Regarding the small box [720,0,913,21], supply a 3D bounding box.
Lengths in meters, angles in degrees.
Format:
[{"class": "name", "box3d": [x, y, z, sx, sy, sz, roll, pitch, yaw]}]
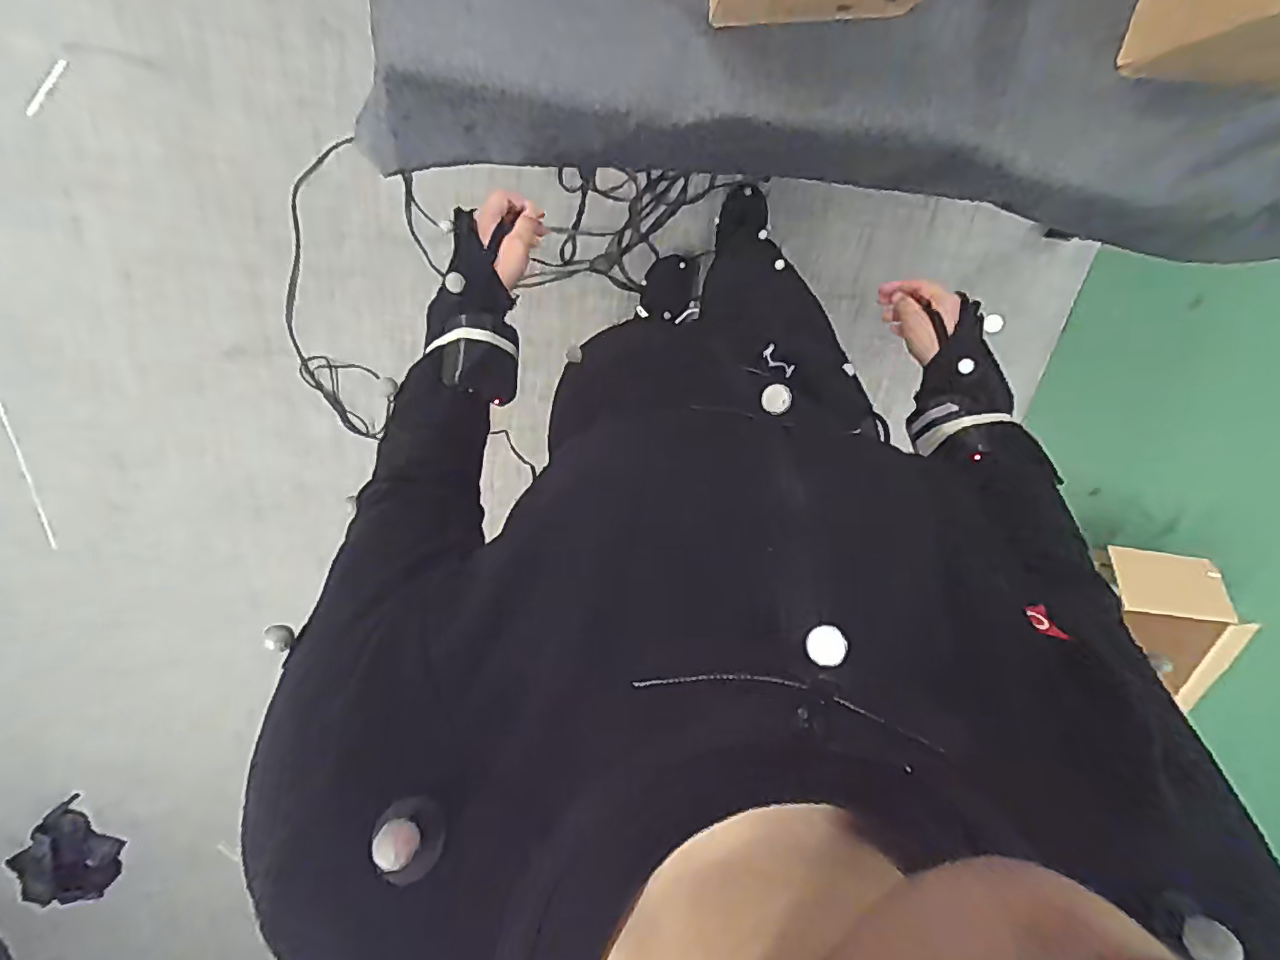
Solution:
[{"class": "small box", "box3d": [0.139, -0.430, 0.347, 0.168, 0.176, 0.179, -4, 112, -1]}]

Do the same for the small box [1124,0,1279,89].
[{"class": "small box", "box3d": [0.511, -0.391, 0.371, 0.179, 0.176, 0.168, 4, 113, -2]}]
